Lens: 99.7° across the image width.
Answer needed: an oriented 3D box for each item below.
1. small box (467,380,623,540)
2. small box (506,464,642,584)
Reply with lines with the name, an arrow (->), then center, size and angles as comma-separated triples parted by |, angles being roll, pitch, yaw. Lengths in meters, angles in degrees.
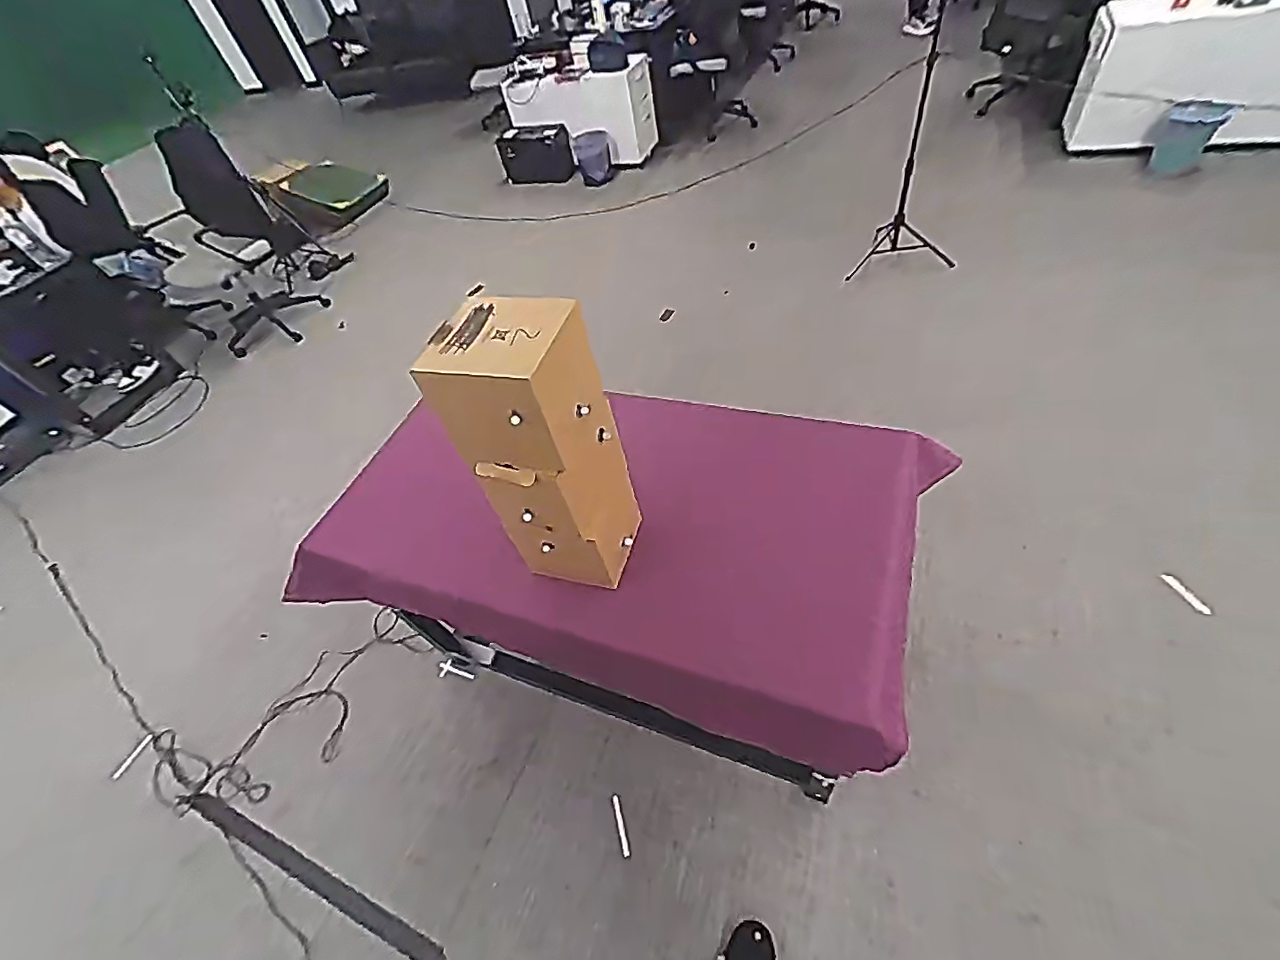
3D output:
small box -> -0.139, -0.033, 0.878 | 0.168, 0.176, 0.179 | 13, 55, 23
small box -> -0.111, 0.074, 1.000 | 0.179, 0.176, 0.168 | 8, 53, 18
